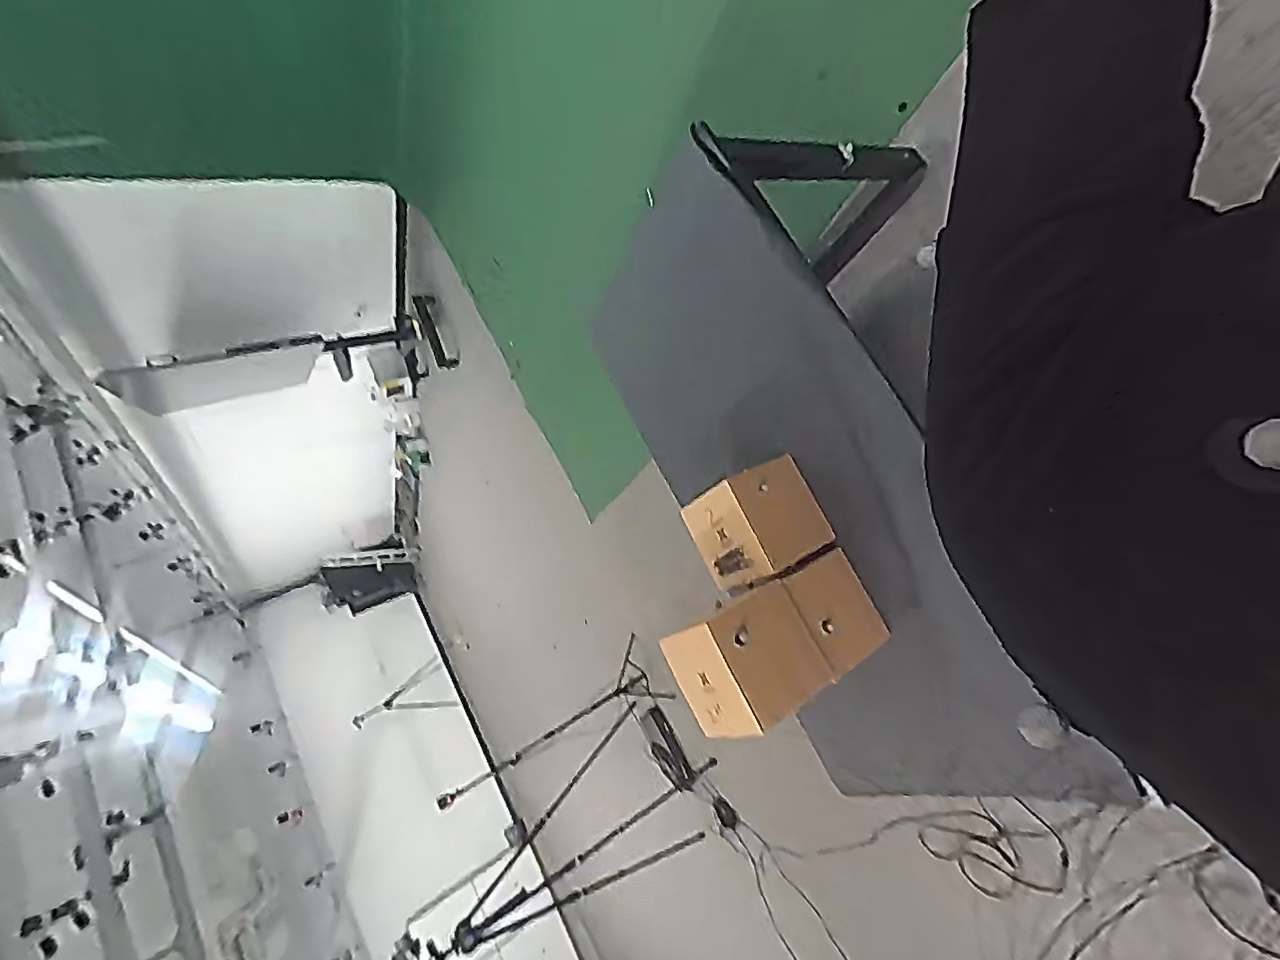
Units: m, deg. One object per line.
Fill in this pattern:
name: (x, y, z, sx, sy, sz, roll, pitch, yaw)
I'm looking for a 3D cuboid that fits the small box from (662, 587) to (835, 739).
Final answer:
small box: (0.171, 0.289, 0.871, 0.179, 0.176, 0.168, 62, 146, 12)
